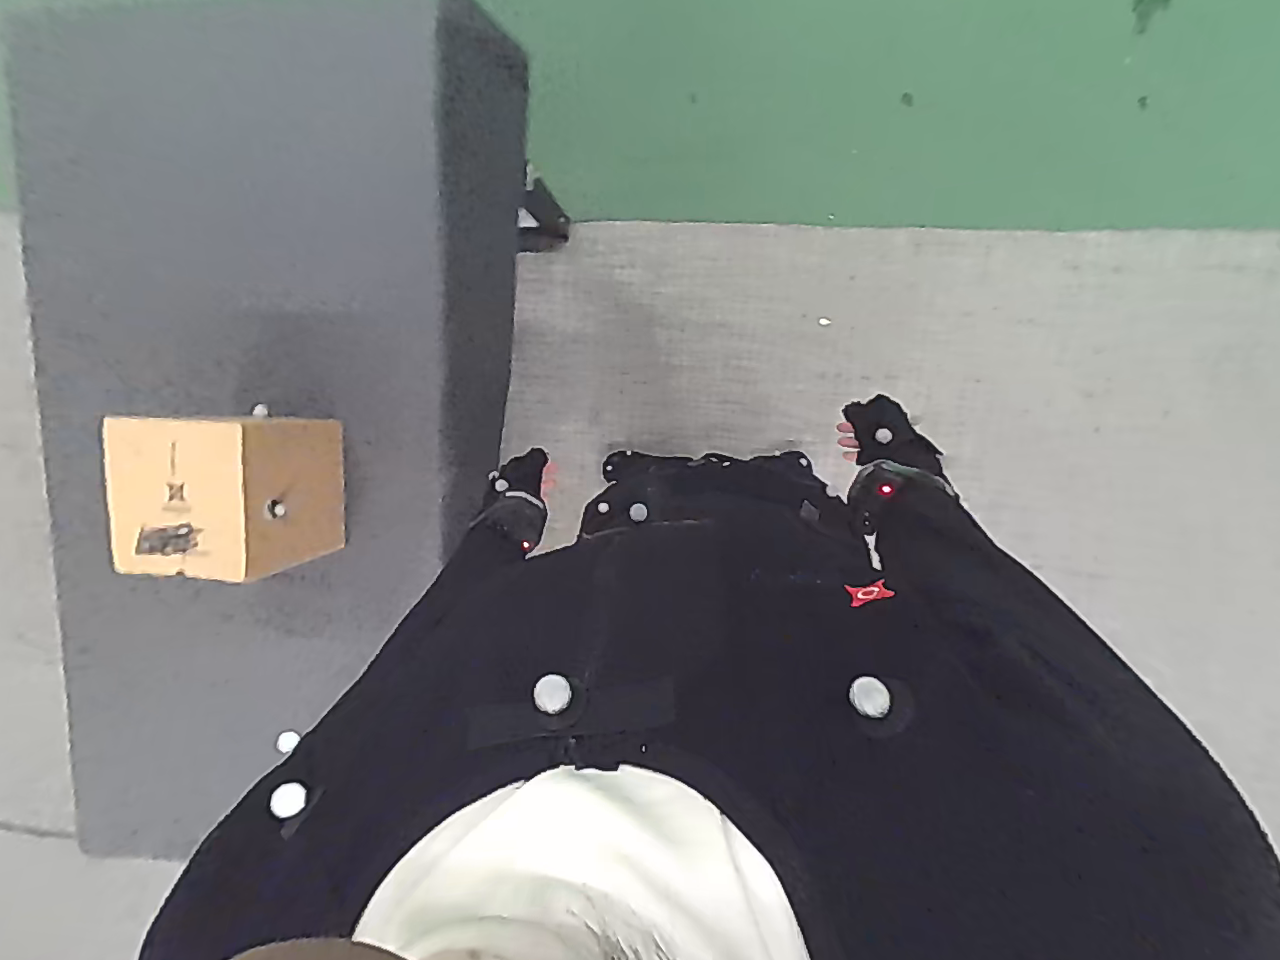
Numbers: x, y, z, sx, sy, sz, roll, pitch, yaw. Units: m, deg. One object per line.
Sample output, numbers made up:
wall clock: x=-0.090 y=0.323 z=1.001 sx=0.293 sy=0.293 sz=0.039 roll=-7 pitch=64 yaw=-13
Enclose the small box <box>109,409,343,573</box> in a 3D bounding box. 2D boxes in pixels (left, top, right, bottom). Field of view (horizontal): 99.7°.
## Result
small box: x=-0.497 y=0.003 z=0.674 sx=0.168 sy=0.176 sz=0.179 roll=3 pitch=96 yaw=6
